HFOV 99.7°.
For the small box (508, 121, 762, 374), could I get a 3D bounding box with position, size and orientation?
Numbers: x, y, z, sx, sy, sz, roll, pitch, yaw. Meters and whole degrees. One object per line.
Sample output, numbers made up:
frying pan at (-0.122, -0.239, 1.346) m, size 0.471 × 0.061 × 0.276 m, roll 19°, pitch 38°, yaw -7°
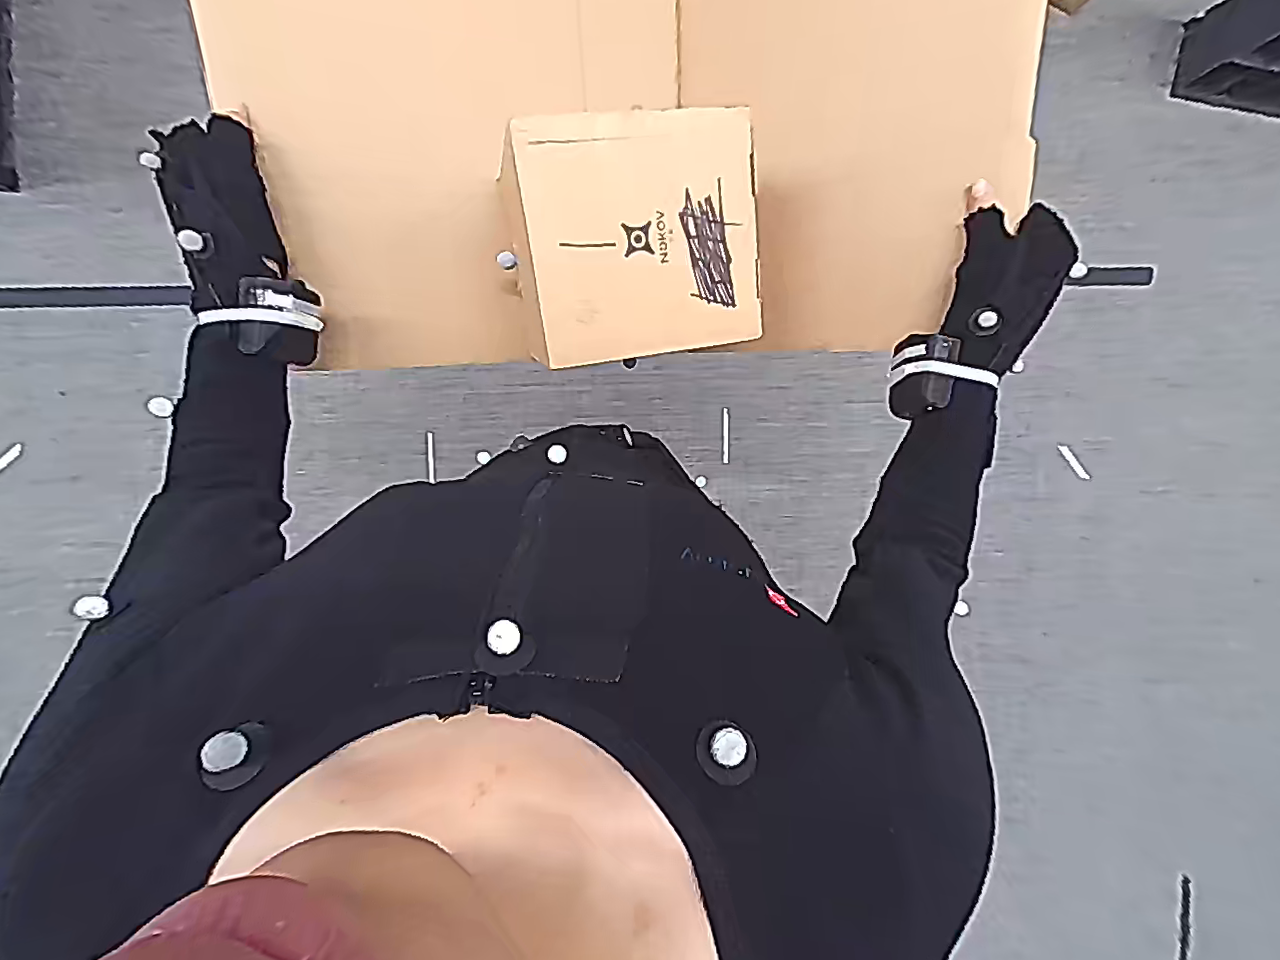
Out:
small box at (-0.012, -0.193, 0.474) m, size 0.179 × 0.176 × 0.168 m, roll -11°, pitch 108°, yaw -12°
